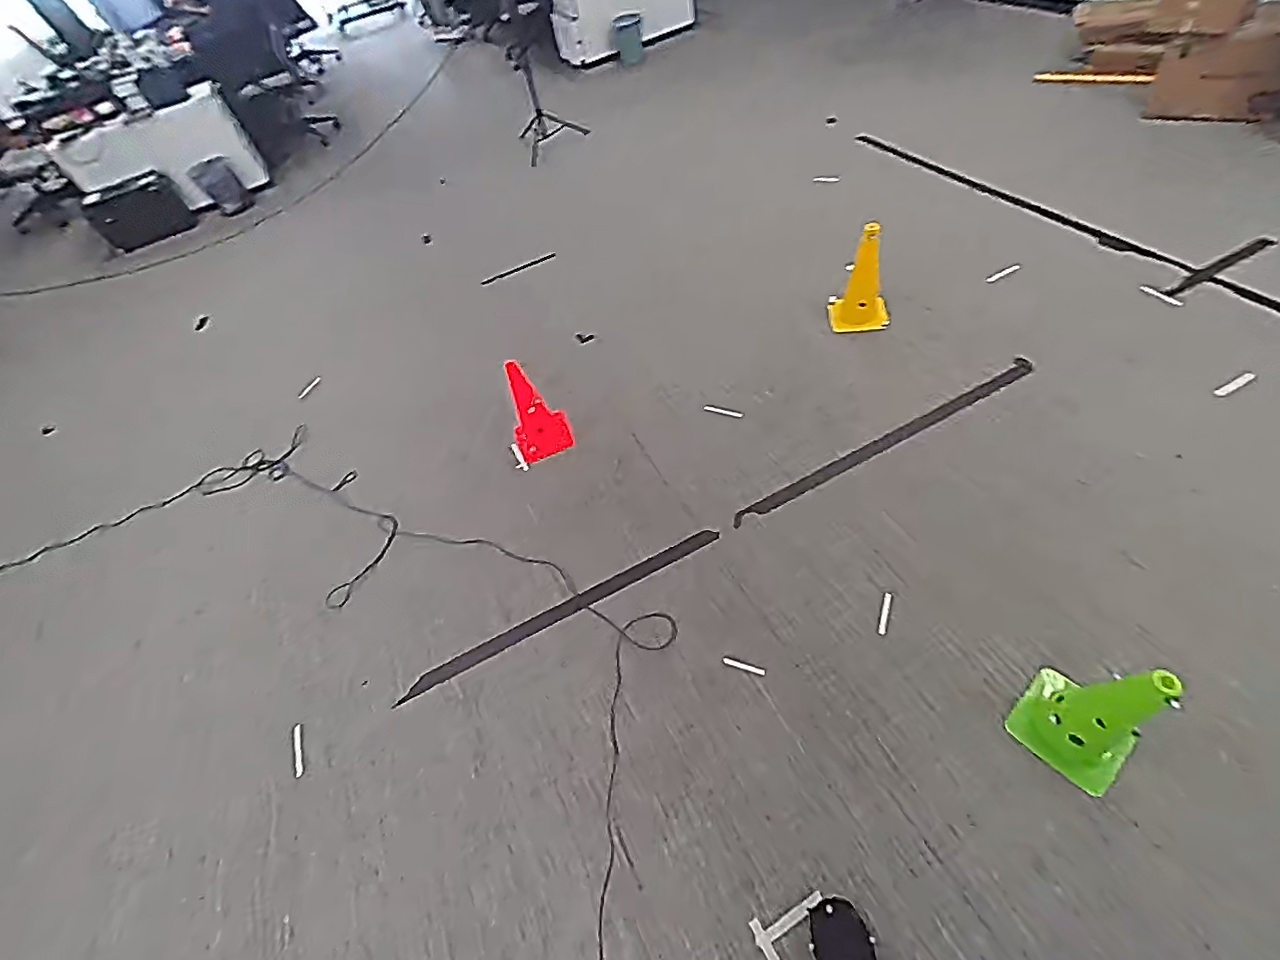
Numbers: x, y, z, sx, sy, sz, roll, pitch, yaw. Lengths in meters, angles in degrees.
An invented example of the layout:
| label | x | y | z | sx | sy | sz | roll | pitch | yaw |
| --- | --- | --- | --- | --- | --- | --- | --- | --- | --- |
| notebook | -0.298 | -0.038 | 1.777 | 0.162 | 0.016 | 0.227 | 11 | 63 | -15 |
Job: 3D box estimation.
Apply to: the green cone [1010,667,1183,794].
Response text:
| label | x | y | z | sx | sy | sz | roll | pitch | yaw |
| --- | --- | --- | --- | --- | --- | --- | --- | --- | --- |
| green cone | 0.921 | 0.441 | 1.050 | 0.202 | 0.368 | 0.200 | -41 | 55 | -17 |

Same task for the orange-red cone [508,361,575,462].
| label | x | y | z | sx | sy | sz | roll | pitch | yaw |
| --- | --- | --- | --- | --- | --- | --- | --- | --- | --- |
| orange-red cone | -0.378 | -0.263 | 1.867 | 0.199 | 0.360 | 0.198 | -20 | 52 | -5 |
